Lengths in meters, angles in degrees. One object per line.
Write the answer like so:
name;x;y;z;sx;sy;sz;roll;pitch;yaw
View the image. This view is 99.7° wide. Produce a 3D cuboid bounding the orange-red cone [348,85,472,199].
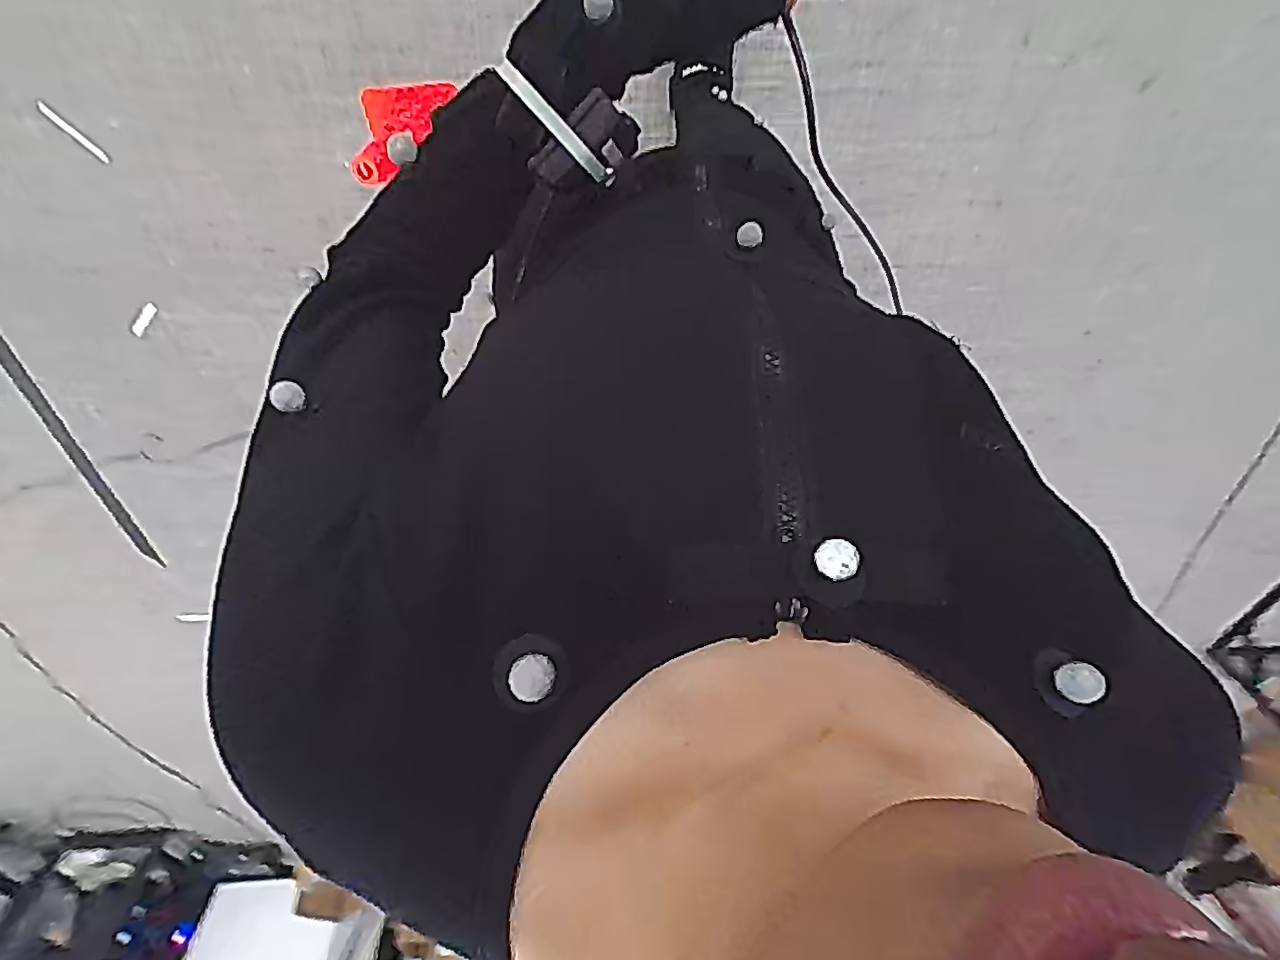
orange-red cone;-0.455;-0.597;0.992;0.198;0.360;0.199;-5;127;-1
